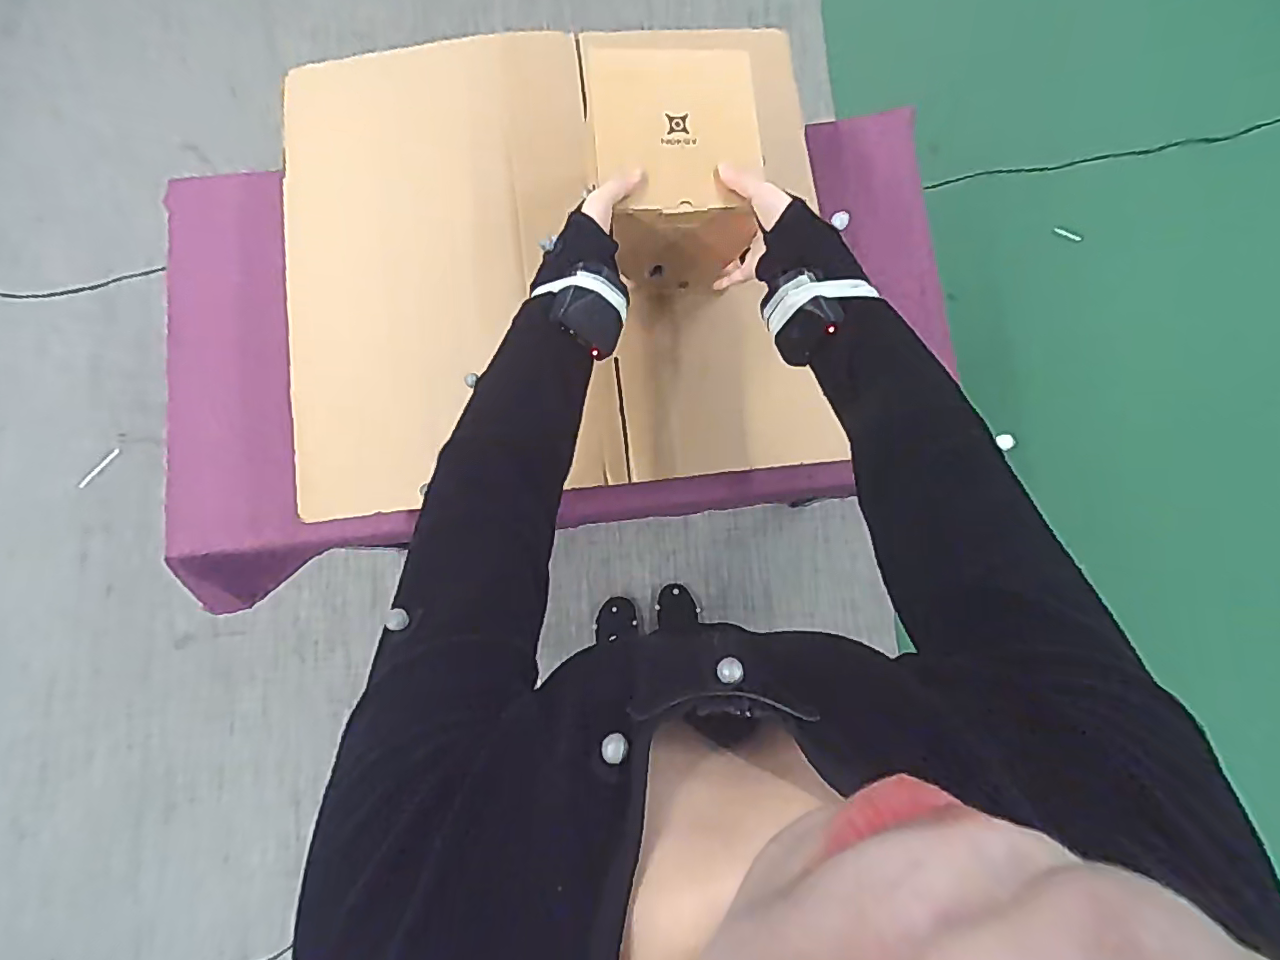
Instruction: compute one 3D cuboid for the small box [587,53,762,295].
[{"bbox_3d":[0.026,-0.331,0.612,0.168,0.176,0.179,-4,83,-5],"label":"small box"}]
